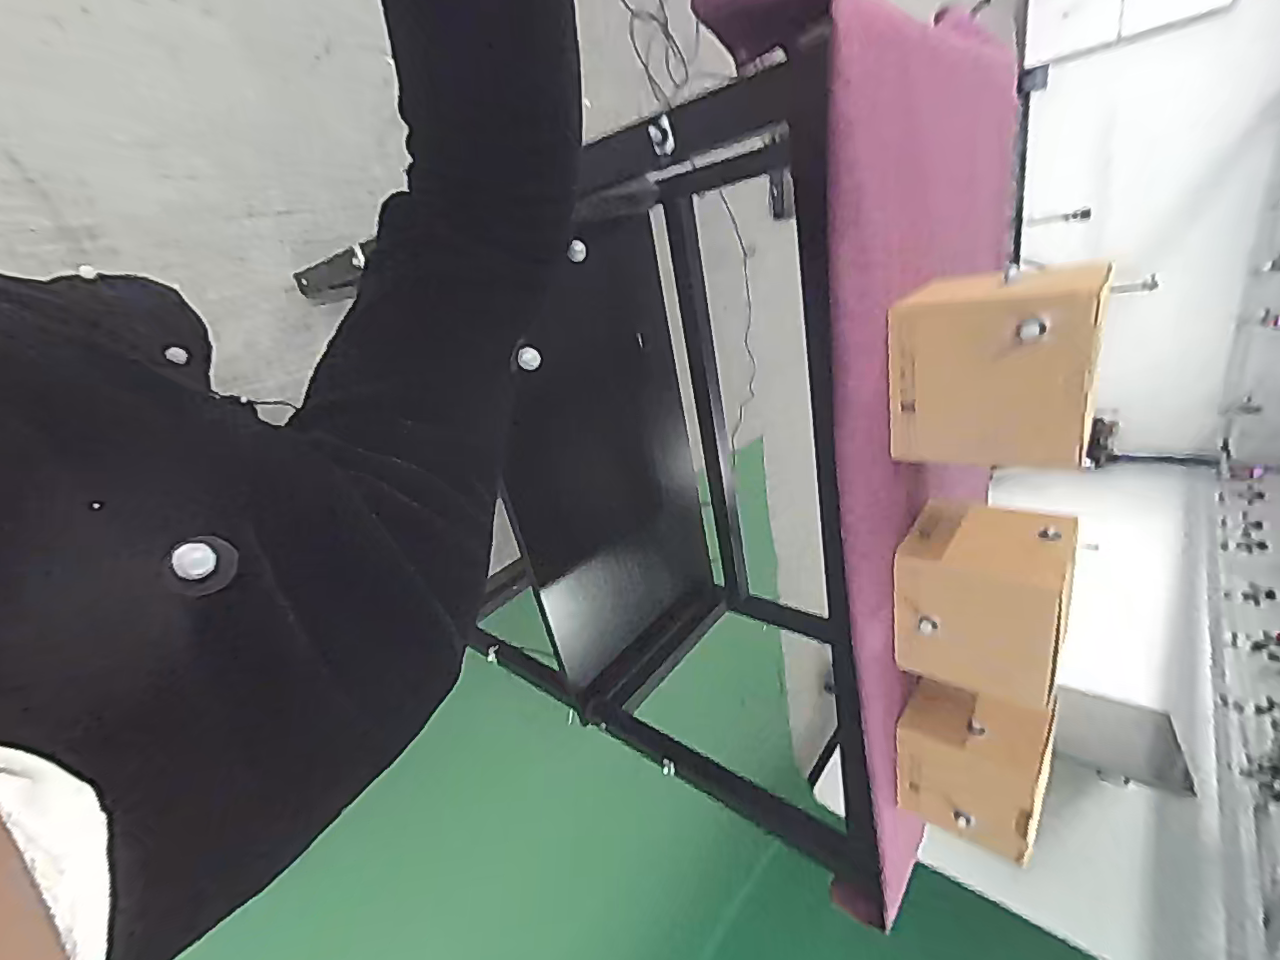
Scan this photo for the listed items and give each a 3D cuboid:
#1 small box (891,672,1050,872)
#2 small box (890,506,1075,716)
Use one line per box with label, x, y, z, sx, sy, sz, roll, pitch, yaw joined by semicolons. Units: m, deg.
small box;0.481;0.404;0.794;0.179;0.176;0.168;-28;117;-43
small box;0.429;0.151;0.688;0.168;0.176;0.179;-33;121;-42
